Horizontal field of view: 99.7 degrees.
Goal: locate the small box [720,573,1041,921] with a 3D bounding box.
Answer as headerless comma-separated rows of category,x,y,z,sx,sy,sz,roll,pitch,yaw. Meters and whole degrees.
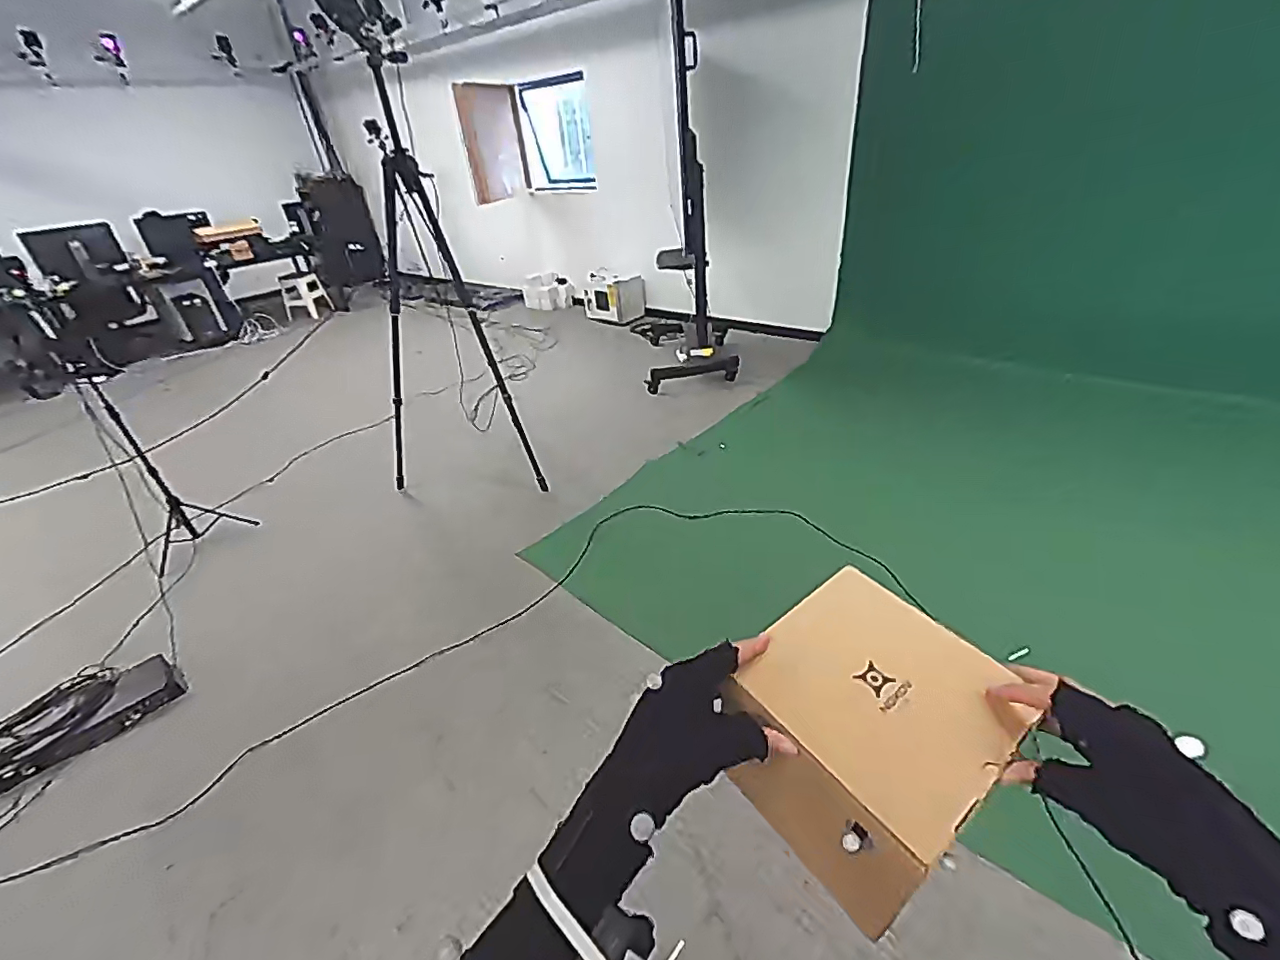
small box,0.183,0.221,0.465,0.168,0.176,0.179,-27,44,-26
